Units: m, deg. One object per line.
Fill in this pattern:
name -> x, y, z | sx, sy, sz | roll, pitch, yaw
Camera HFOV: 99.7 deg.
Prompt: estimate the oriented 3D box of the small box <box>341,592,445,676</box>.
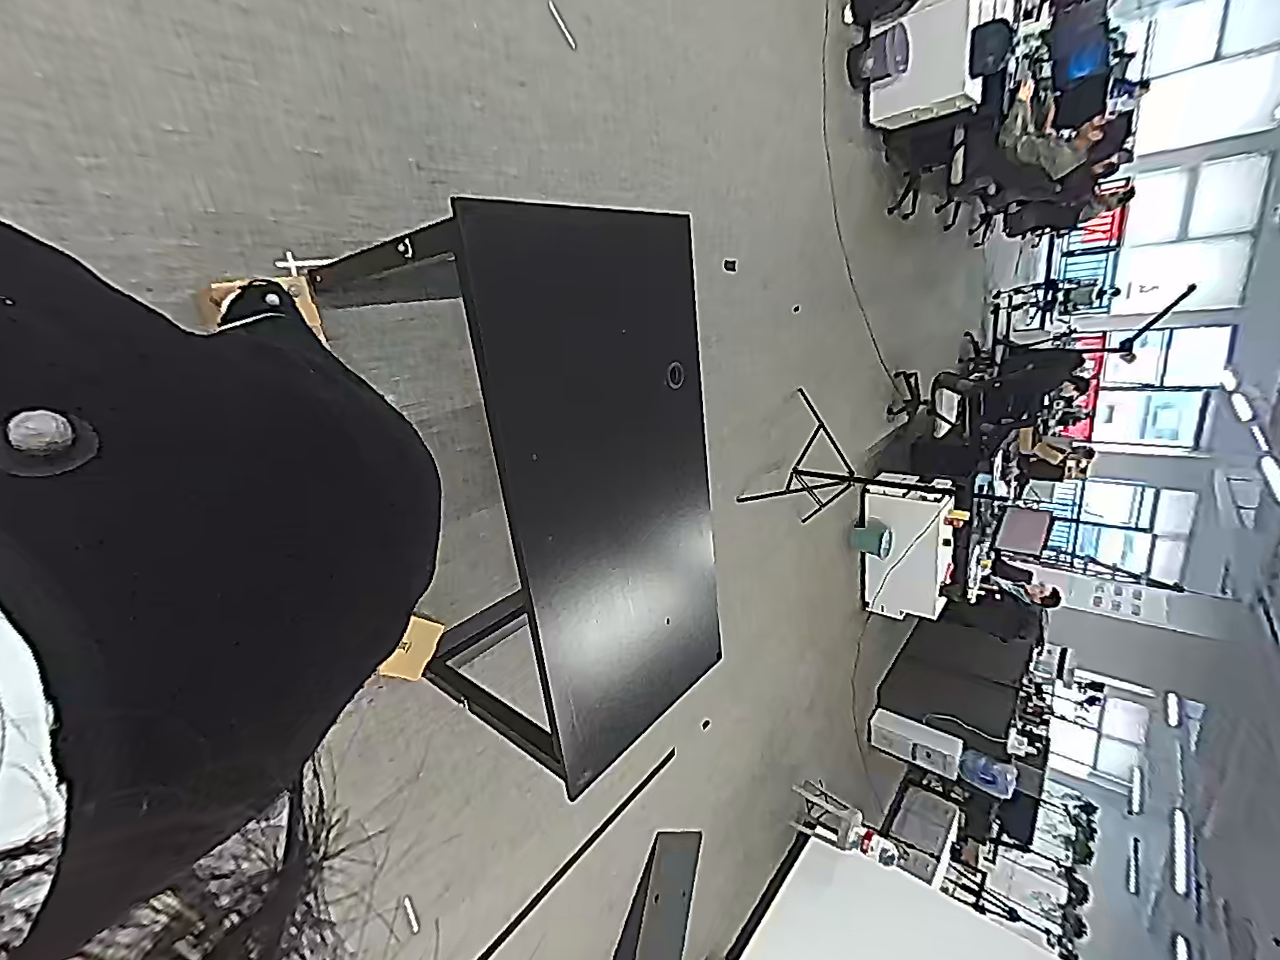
small box -> -0.692, 0.428, 1.513 | 0.179, 0.176, 0.168 | 38, 69, -45
